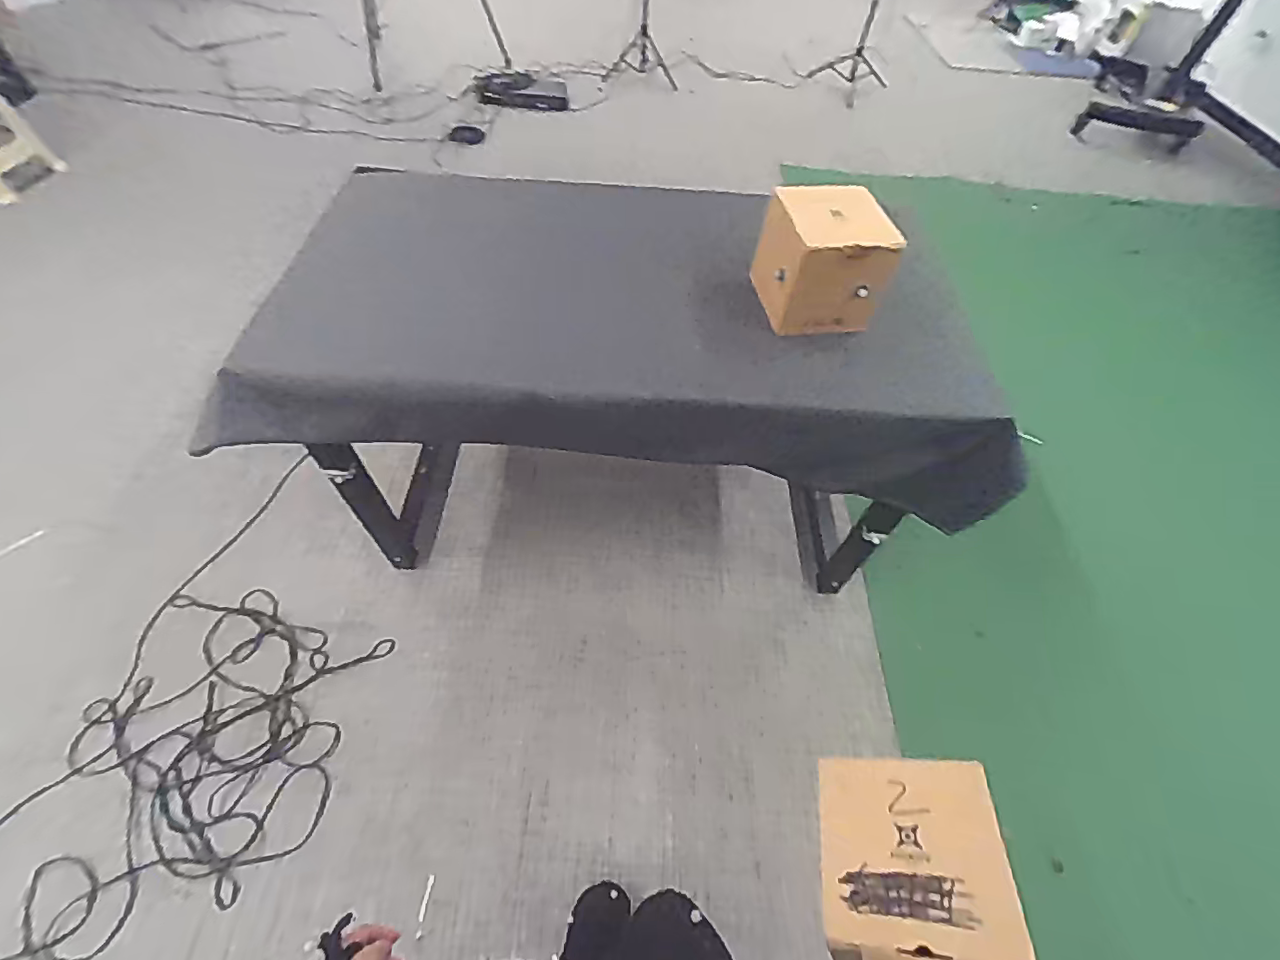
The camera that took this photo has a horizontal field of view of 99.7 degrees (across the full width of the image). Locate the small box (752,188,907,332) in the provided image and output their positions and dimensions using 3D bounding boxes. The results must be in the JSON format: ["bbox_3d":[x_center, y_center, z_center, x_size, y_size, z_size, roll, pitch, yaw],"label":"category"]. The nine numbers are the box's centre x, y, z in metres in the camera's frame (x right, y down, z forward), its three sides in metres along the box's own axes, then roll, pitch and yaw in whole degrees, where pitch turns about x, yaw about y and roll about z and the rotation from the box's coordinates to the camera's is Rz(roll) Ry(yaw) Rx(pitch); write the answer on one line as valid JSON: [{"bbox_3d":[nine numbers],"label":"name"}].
[{"bbox_3d":[0.304,-0.365,0.910,0.168,0.176,0.179,-5,54,-9],"label":"small box"}]
